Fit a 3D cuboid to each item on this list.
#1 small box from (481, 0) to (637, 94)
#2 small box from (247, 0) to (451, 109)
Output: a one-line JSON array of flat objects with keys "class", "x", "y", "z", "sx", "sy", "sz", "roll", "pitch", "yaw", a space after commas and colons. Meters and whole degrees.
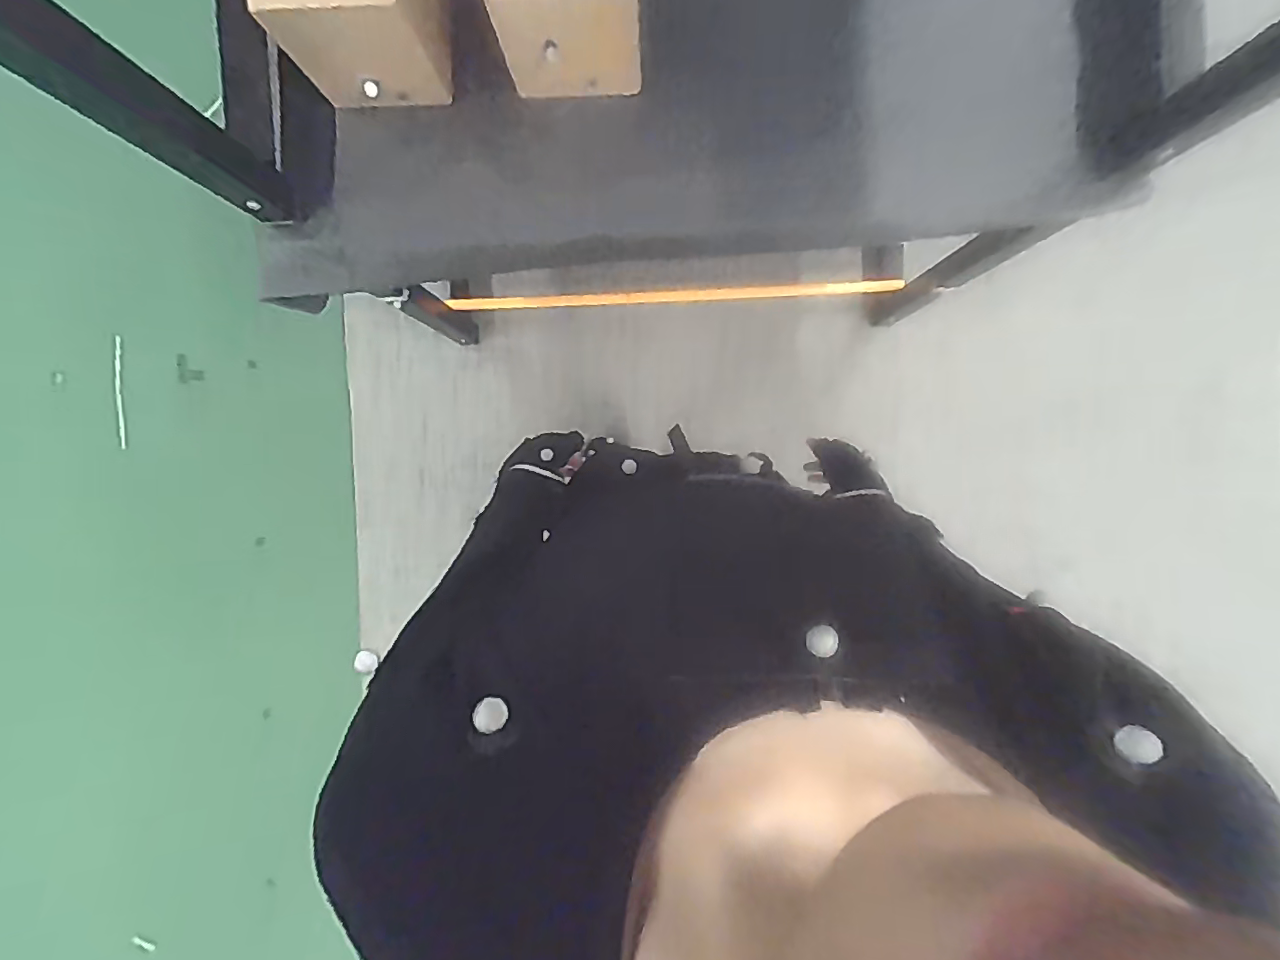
[{"class": "small box", "x": -0.089, "y": -0.604, "z": 0.656, "sx": 0.168, "sy": 0.176, "sz": 0.179, "roll": -1, "pitch": 92, "yaw": 1}, {"class": "small box", "x": -0.342, "y": -0.595, "z": 0.660, "sx": 0.168, "sy": 0.176, "sz": 0.179, "roll": -1, "pitch": 93, "yaw": 2}]
